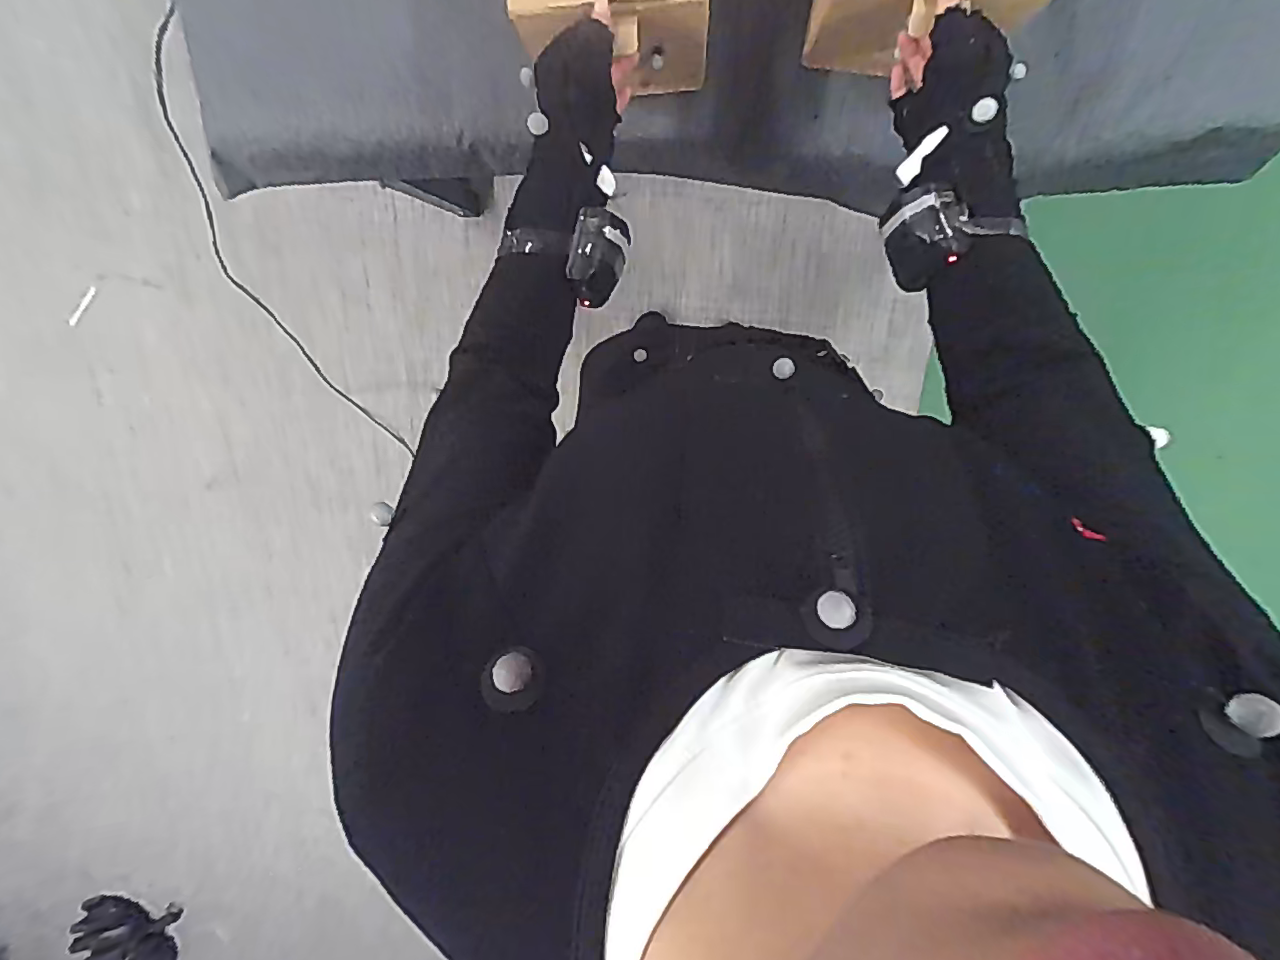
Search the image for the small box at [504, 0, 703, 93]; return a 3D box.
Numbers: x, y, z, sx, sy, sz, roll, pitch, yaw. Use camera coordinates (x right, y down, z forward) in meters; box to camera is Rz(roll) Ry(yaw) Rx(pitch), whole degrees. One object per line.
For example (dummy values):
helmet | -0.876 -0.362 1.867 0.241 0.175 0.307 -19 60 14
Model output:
small box | -0.028 -0.480 0.488 0.168 0.176 0.179 -2 103 3
